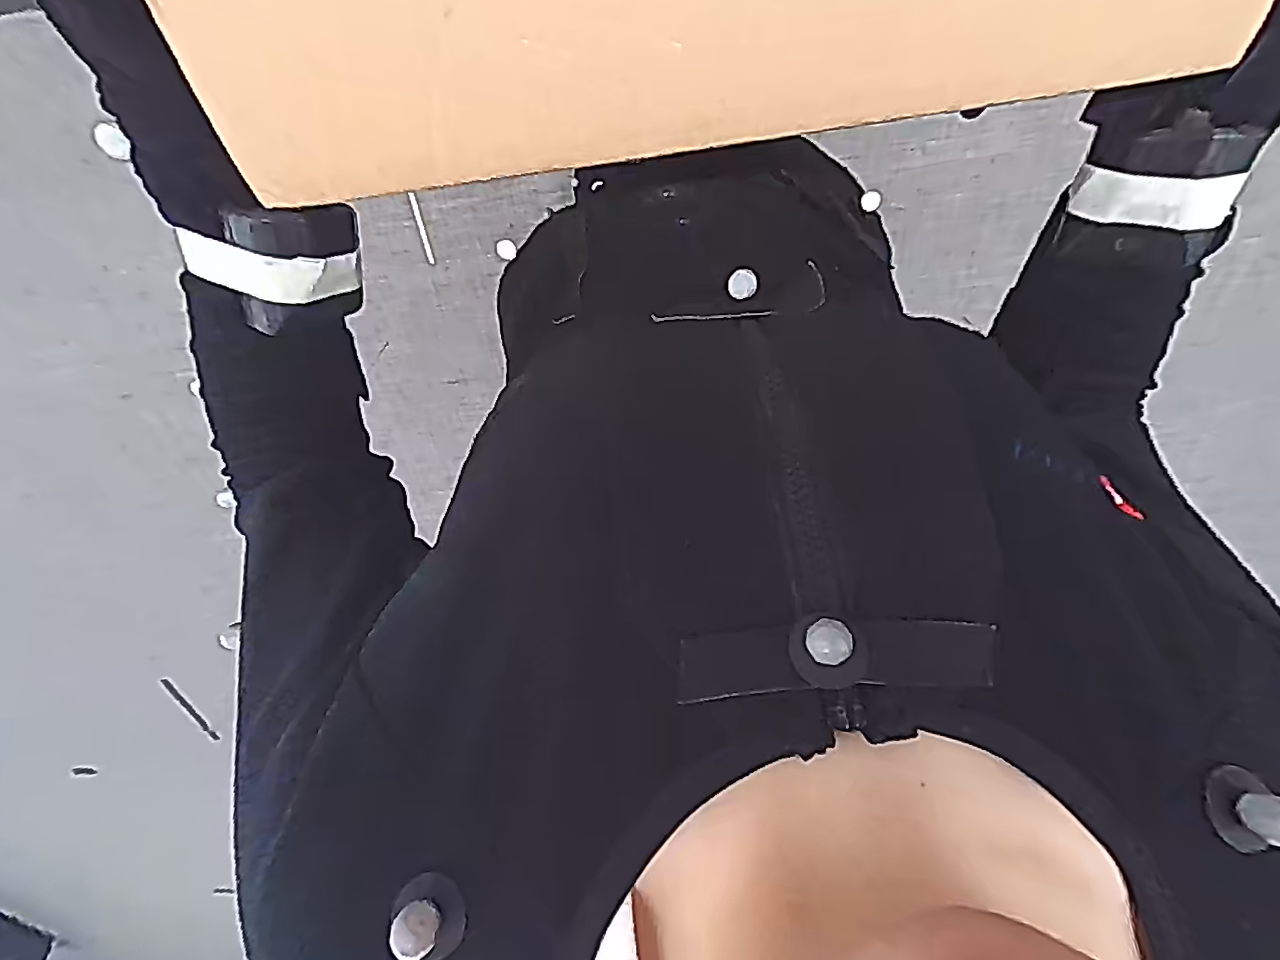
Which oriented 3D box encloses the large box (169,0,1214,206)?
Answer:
[{"bbox_3d":[0.008,-0.362,0.238,0.408,0.320,0.320,-7,133,2],"label":"large box"}]
